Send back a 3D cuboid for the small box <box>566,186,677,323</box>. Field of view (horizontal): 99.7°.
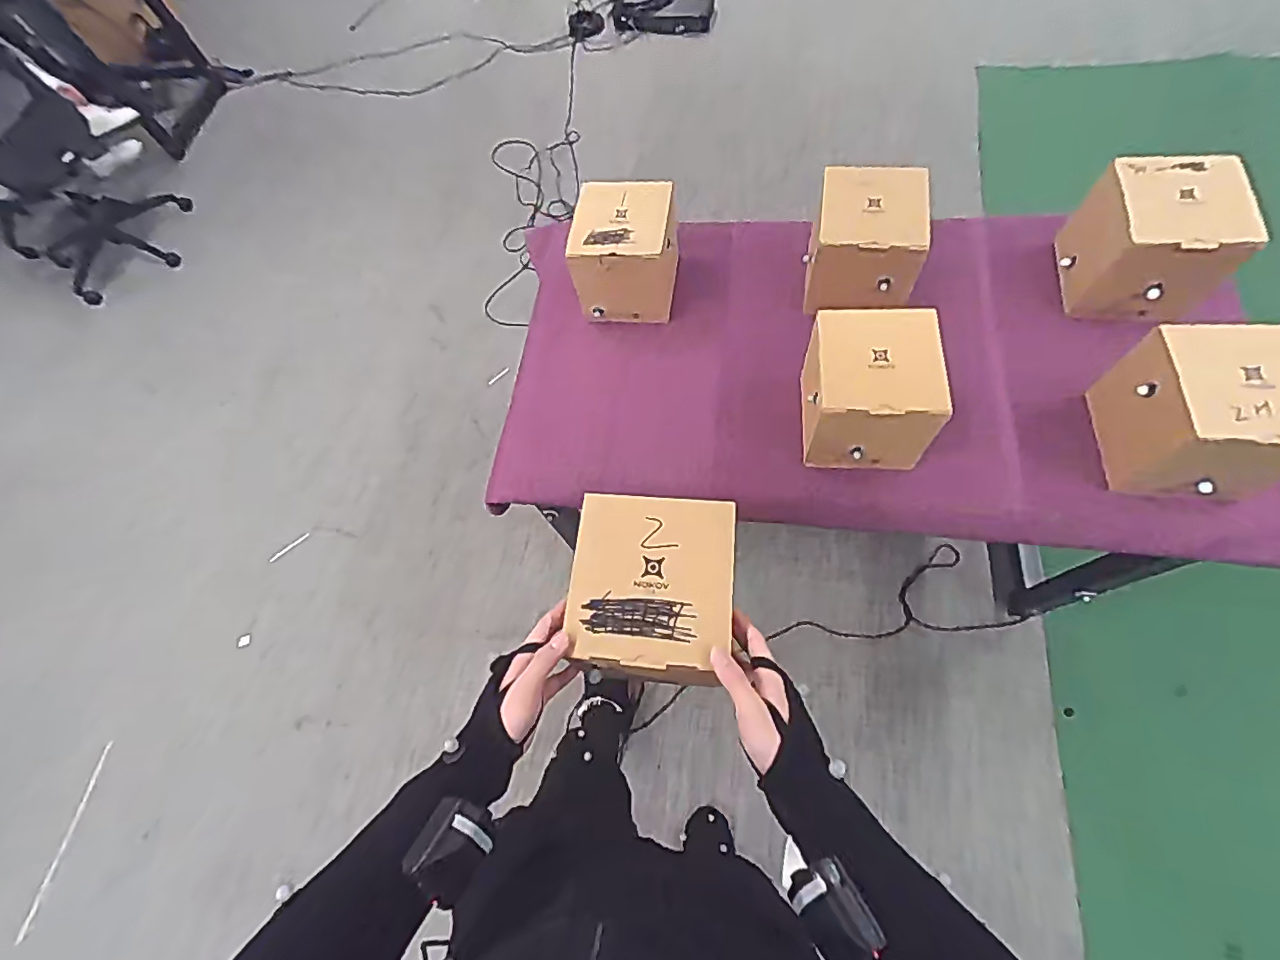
[{"bbox_3d":[-0.023,-0.410,0.998,0.168,0.176,0.179,5,66,9],"label":"small box"}]

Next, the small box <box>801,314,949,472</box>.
[{"bbox_3d":[0.342,-0.129,0.824,0.168,0.176,0.179,2,66,8],"label":"small box"}]

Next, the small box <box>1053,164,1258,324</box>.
[{"bbox_3d":[0.804,-0.370,0.867,0.168,0.176,0.179,6,69,10],"label":"small box"}]

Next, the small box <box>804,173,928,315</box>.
[{"bbox_3d":[0.385,-0.399,0.941,0.168,0.176,0.179,8,67,10],"label":"small box"}]

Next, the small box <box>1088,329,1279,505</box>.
[{"bbox_3d":[0.763,-0.083,0.741,0.168,0.176,0.179,4,66,11],"label":"small box"}]
